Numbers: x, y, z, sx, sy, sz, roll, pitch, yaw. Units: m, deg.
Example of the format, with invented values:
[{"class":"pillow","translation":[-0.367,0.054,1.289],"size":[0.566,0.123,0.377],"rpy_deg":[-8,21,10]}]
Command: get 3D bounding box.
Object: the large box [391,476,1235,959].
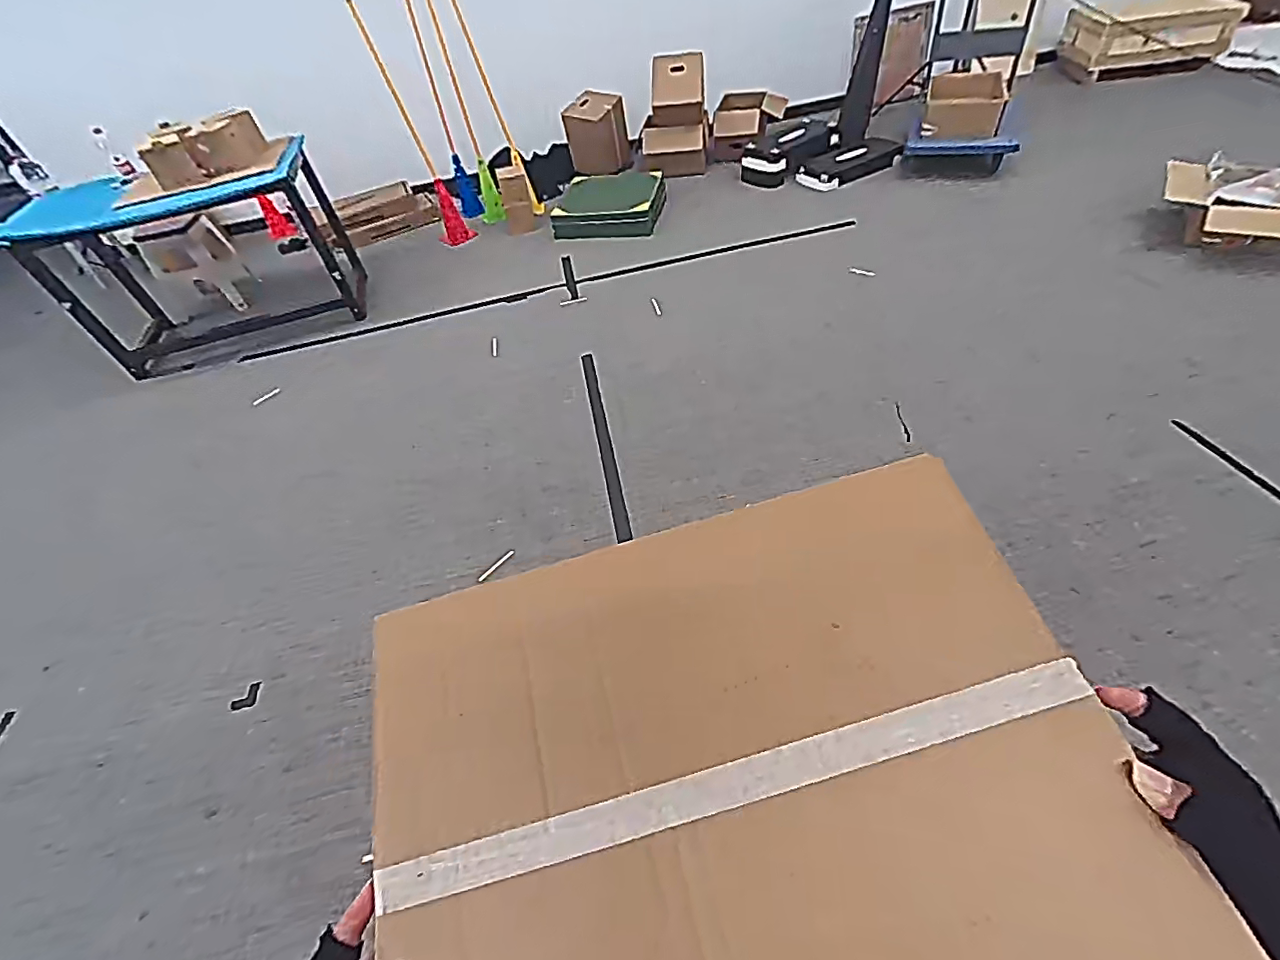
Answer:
[{"class":"large box","translation":[0.075,0.249,0.435],"size":[0.408,0.320,0.320],"rpy_deg":[-16,59,0]}]
